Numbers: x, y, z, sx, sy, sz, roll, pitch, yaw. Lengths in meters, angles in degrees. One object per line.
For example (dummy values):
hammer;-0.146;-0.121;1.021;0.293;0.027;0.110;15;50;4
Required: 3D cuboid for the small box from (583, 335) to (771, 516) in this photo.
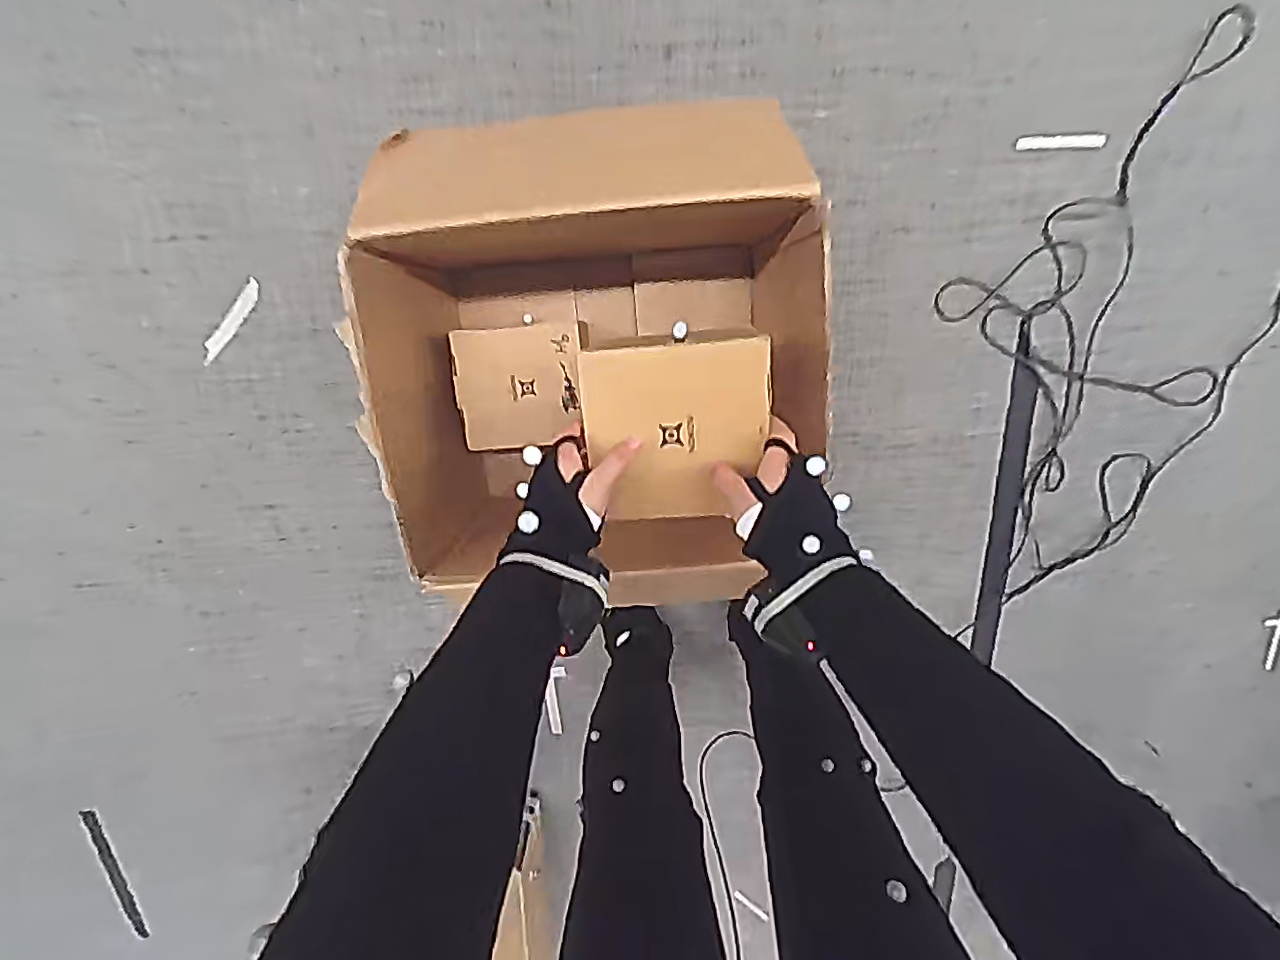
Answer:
small box;0.045;-0.067;0.595;0.179;0.176;0.168;-3;108;6
